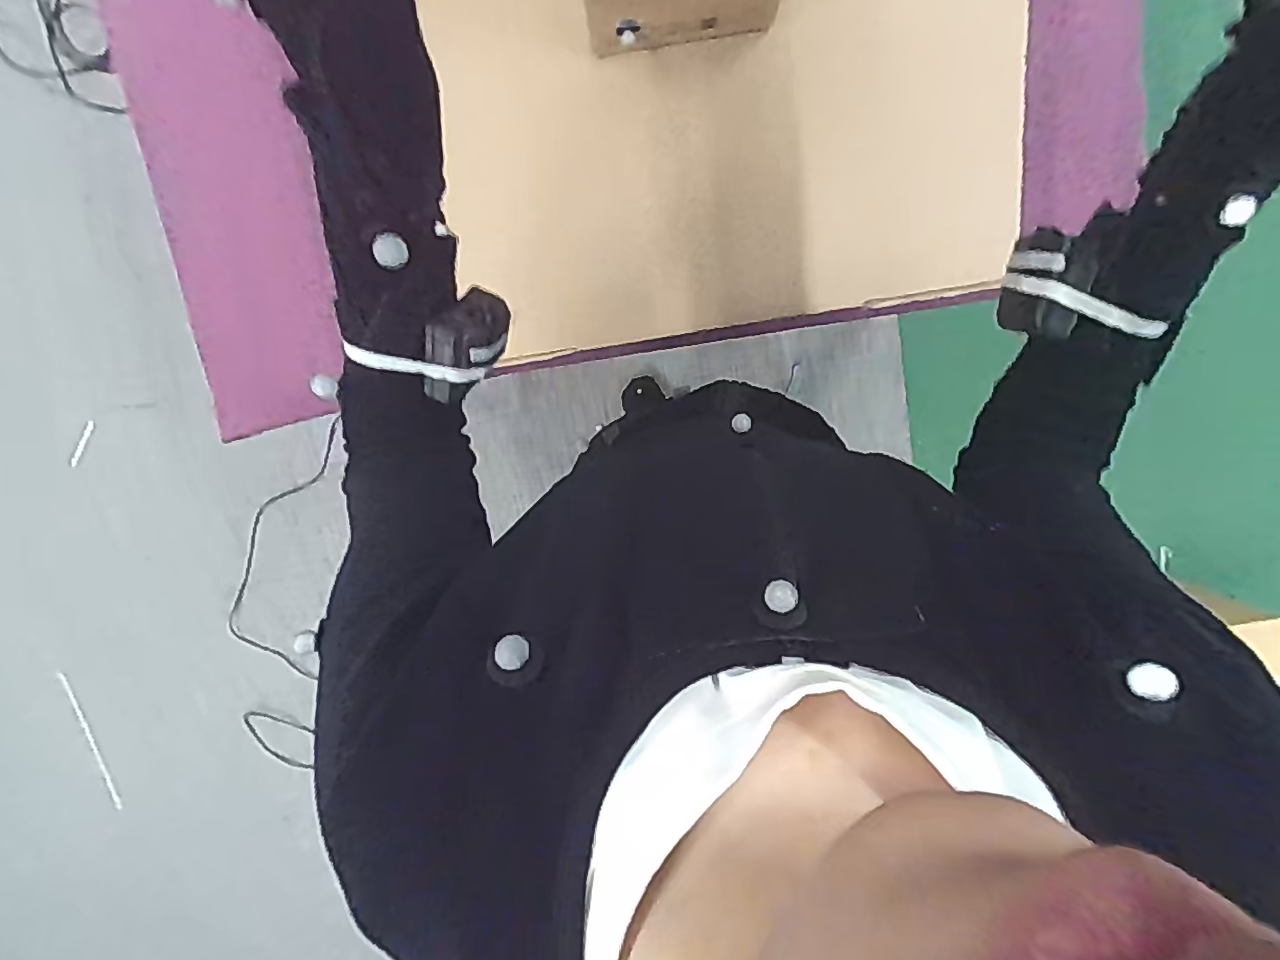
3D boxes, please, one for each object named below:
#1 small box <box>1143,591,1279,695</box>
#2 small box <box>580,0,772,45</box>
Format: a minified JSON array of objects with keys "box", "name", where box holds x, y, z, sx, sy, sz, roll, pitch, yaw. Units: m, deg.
[{"box":[1.352,0.377,1.278,0.179,0.176,0.168,-10,100,3],"name":"small box"},{"box":[0.022,-0.465,0.399,0.168,0.176,0.179,-8,97,2],"name":"small box"}]
